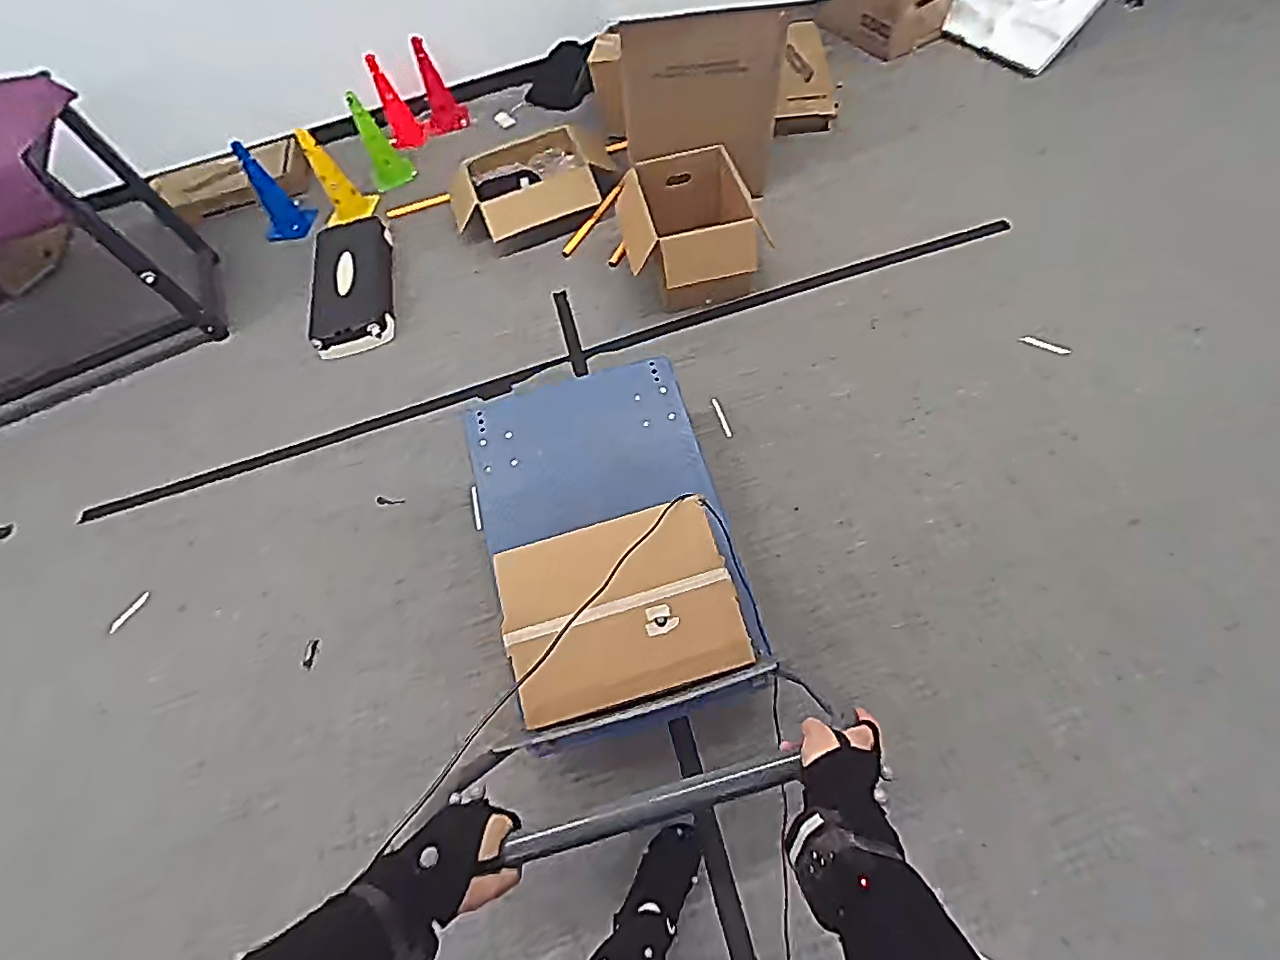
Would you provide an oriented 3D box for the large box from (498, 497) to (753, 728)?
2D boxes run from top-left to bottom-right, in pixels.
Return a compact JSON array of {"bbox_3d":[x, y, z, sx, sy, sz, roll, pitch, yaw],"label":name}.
[{"bbox_3d":[-0.028,0.276,1.107,0.408,0.320,0.320,-17,71,-2],"label":"large box"}]
